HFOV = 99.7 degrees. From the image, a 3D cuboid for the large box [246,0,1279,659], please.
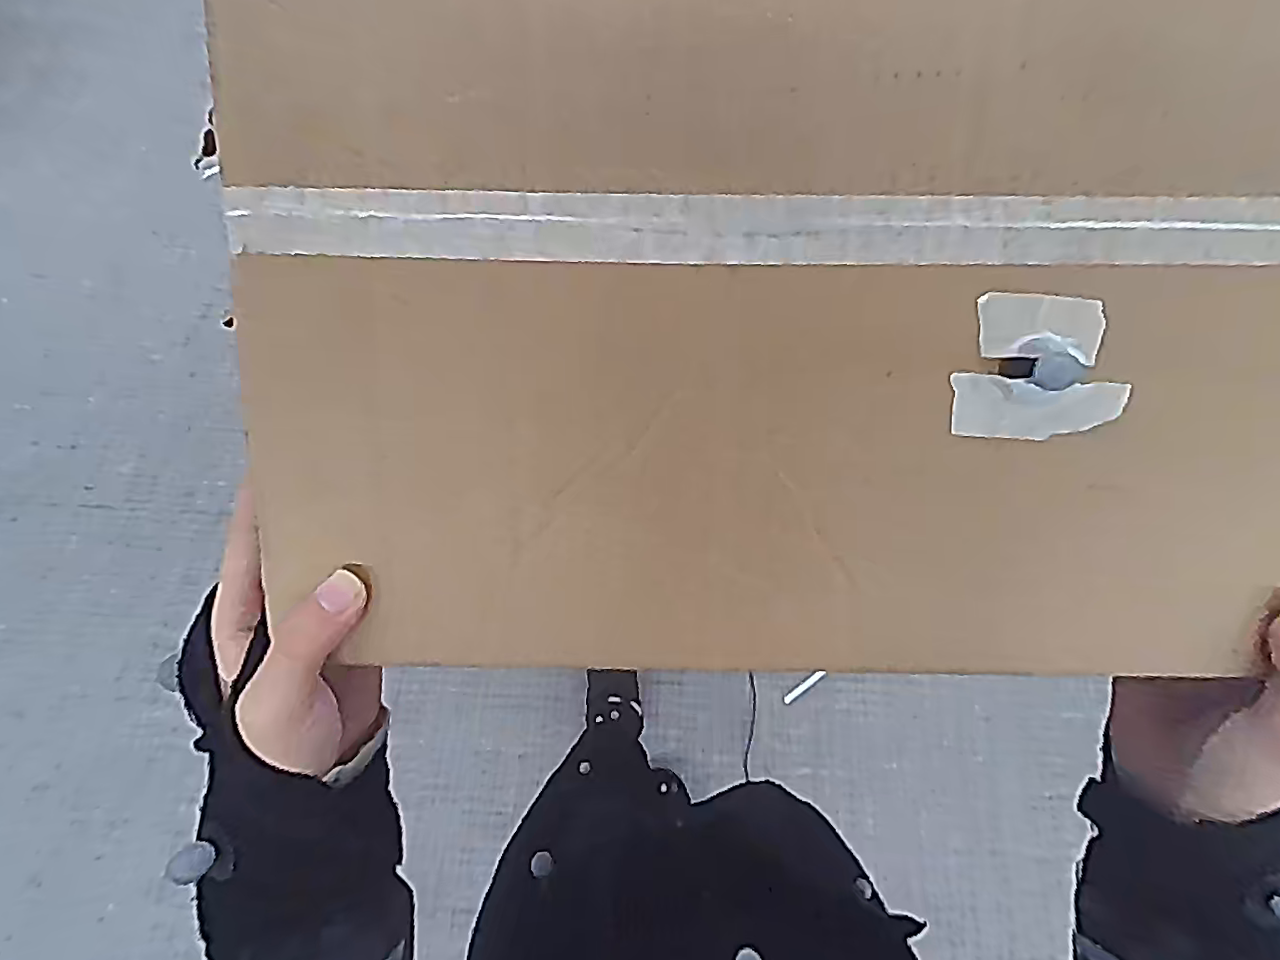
[{"bbox_3d":[0.062,-0.103,0.341,0.408,0.320,0.320,0,98,-1],"label":"large box"}]
